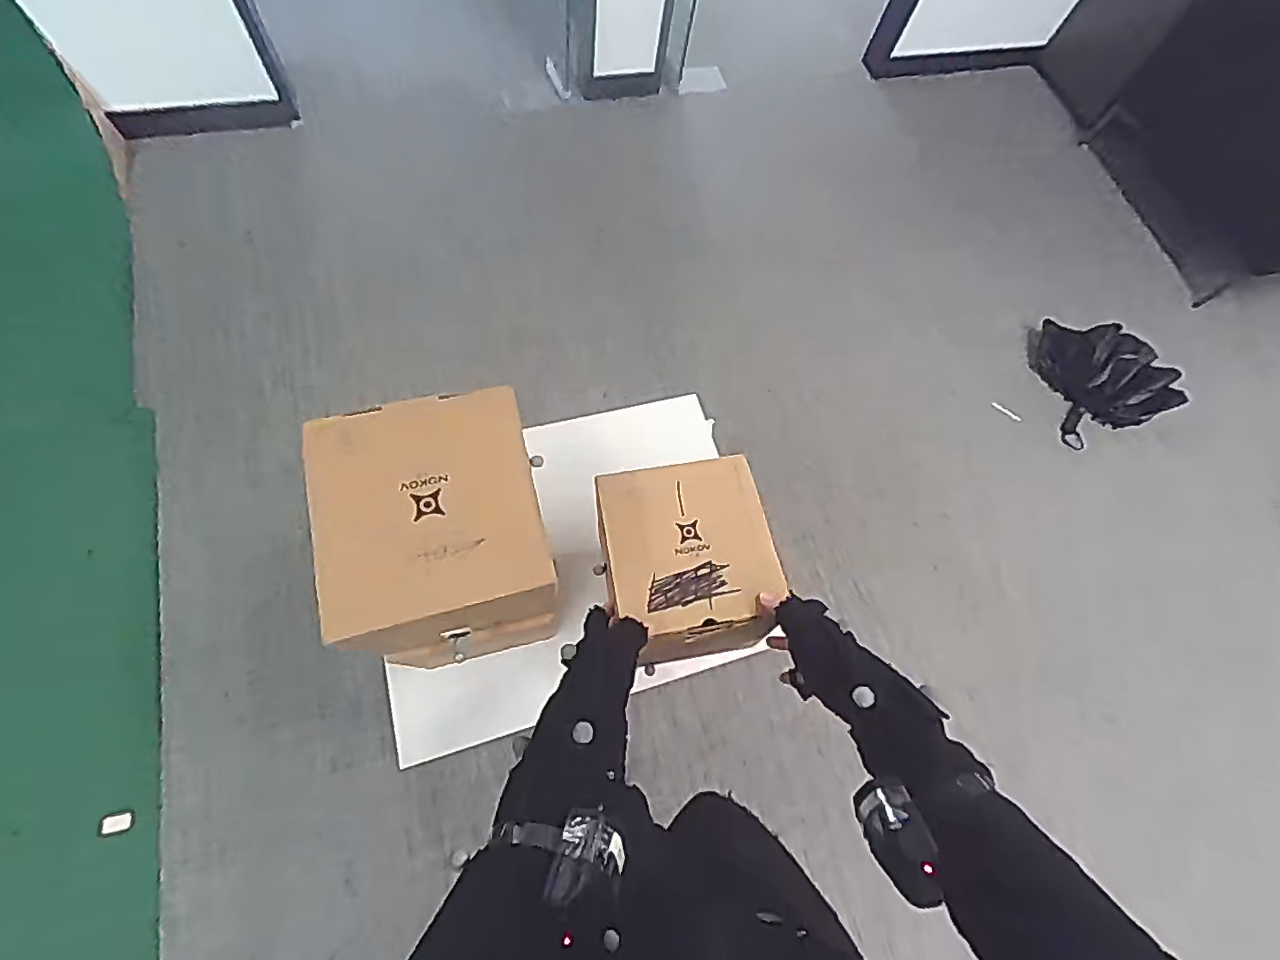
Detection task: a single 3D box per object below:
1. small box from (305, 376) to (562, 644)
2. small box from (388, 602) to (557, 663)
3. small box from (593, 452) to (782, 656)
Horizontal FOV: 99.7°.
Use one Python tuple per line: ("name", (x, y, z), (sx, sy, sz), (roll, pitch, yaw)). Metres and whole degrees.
("small box", (-0.171, 0.035, 0.484), (0.168, 0.176, 0.179), (-13, 73, -13))
("small box", (-0.196, 0.107, 0.645), (0.168, 0.176, 0.179), (-11, 70, -11))
("small box", (0.043, 0.093, 0.618), (0.168, 0.176, 0.179), (-8, 62, -7))
